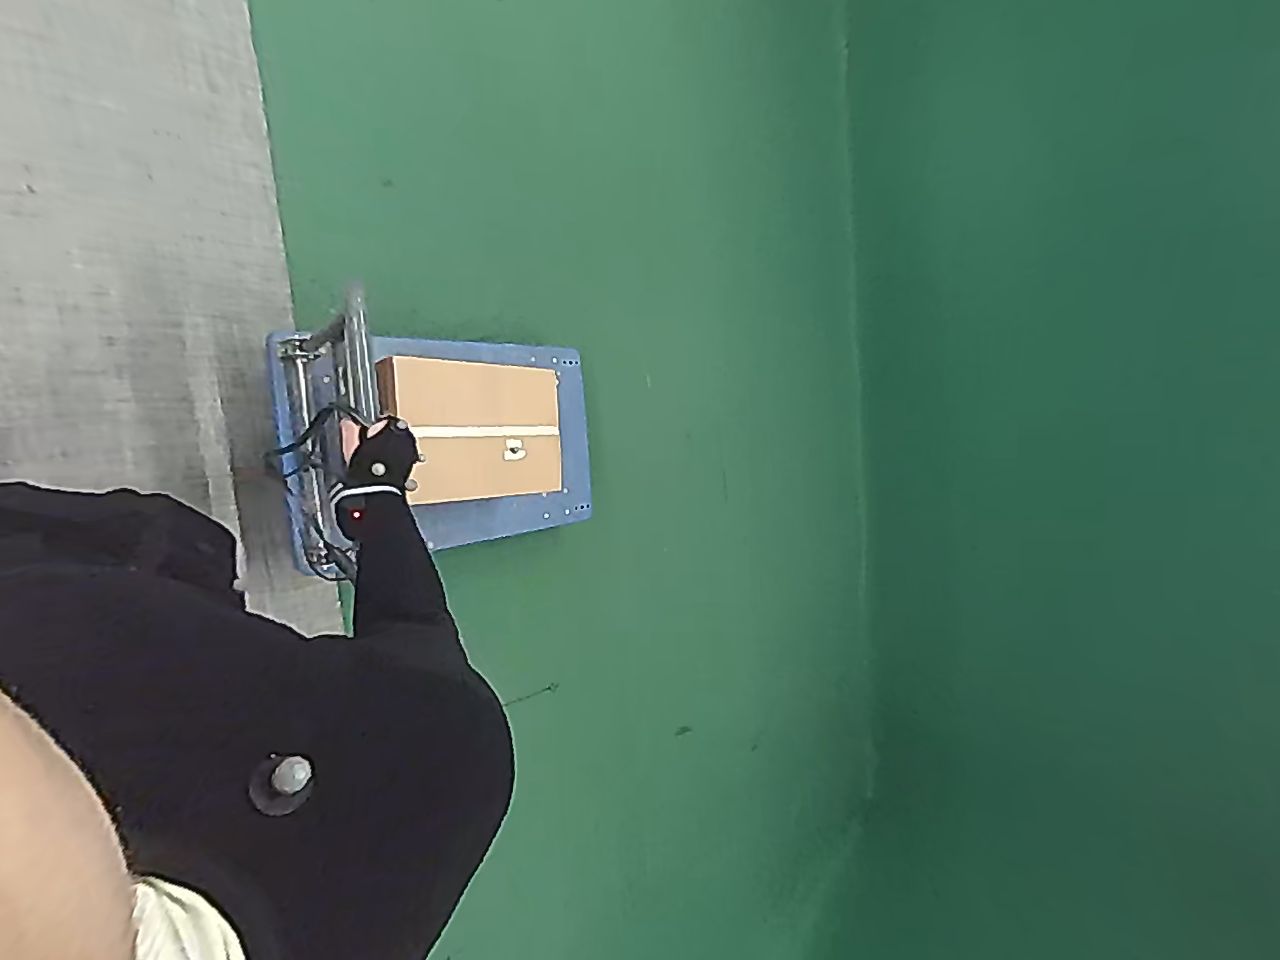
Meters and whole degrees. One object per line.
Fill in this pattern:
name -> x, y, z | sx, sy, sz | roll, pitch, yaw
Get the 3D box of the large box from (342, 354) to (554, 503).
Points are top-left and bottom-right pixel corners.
large box -> -0.476, -0.122, 1.356 | 0.408, 0.320, 0.320 | -5, 95, -44
